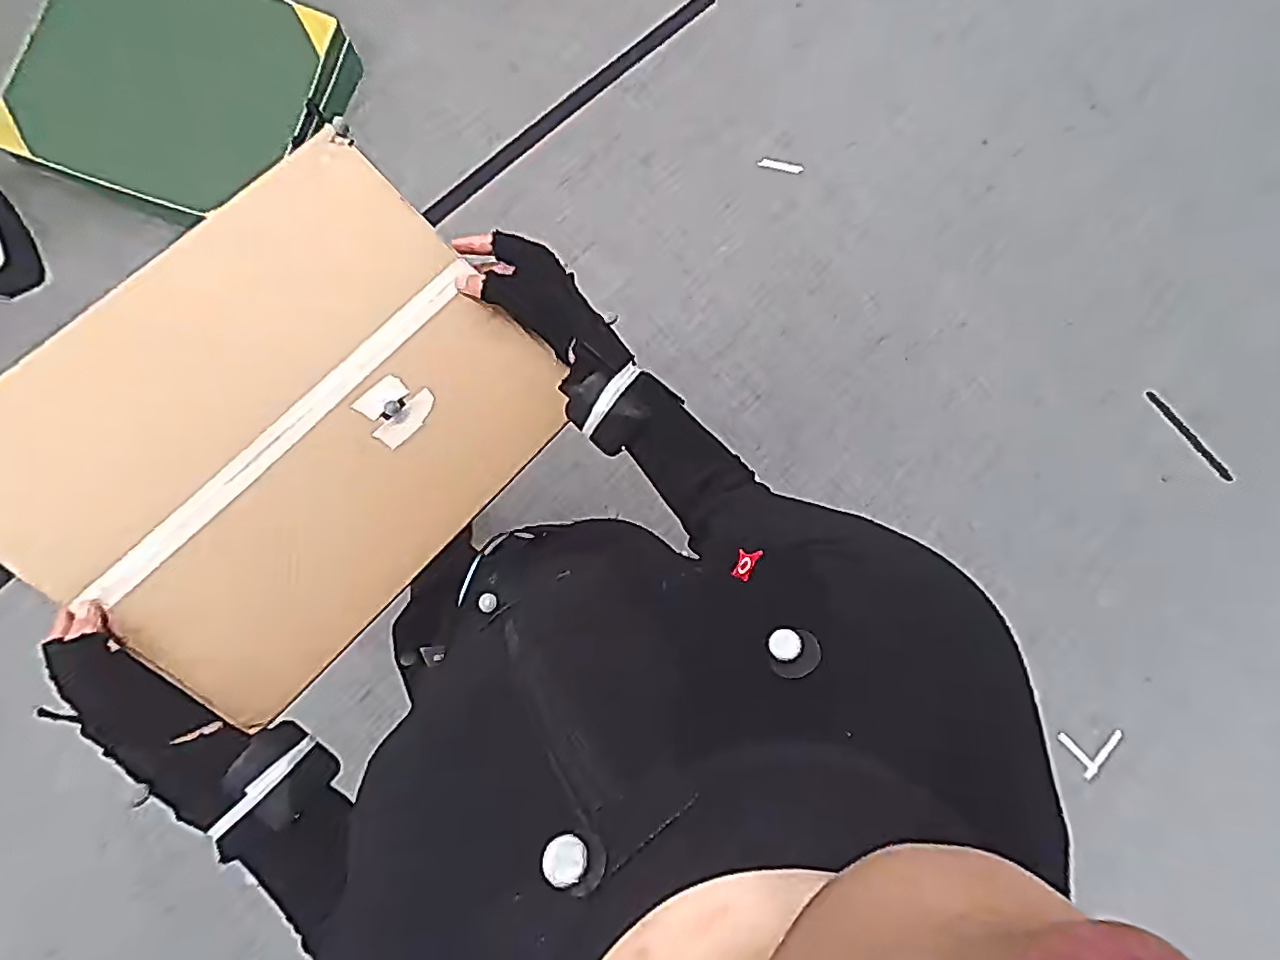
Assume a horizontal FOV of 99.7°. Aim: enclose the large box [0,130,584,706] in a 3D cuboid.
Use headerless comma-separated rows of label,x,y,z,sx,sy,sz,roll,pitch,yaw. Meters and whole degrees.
large box,-0.328,-0.054,0.599,0.320,0.320,0.408,45,78,-12
